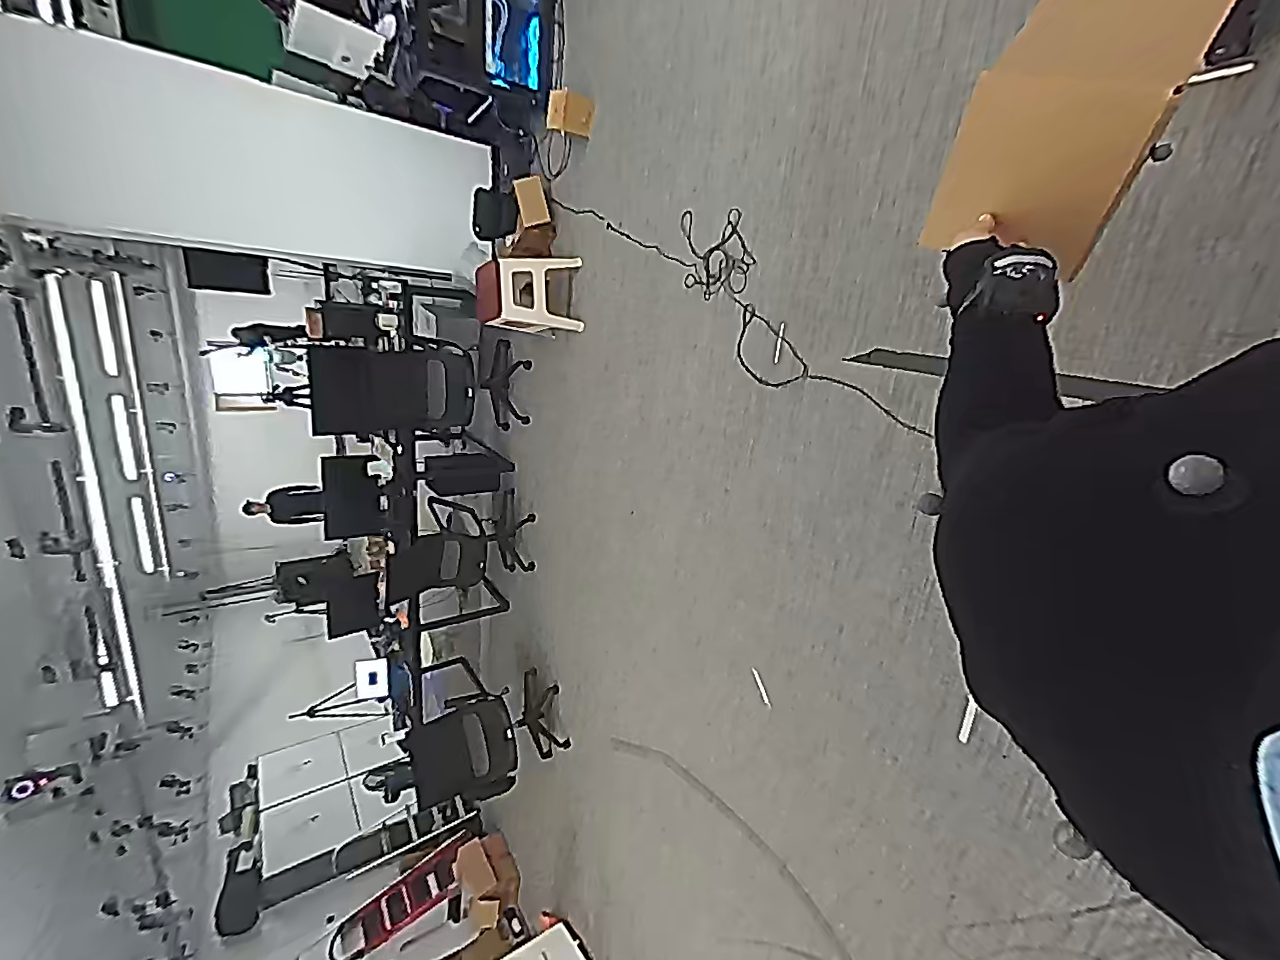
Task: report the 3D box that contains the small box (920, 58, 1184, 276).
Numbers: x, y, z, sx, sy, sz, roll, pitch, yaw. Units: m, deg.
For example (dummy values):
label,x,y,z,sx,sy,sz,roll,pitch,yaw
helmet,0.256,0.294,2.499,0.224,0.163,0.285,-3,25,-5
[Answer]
label,x,y,z,sx,sy,sz,roll,pitch,yaw
small box,0.461,-0.351,0.623,0.168,0.176,0.179,32,127,28
